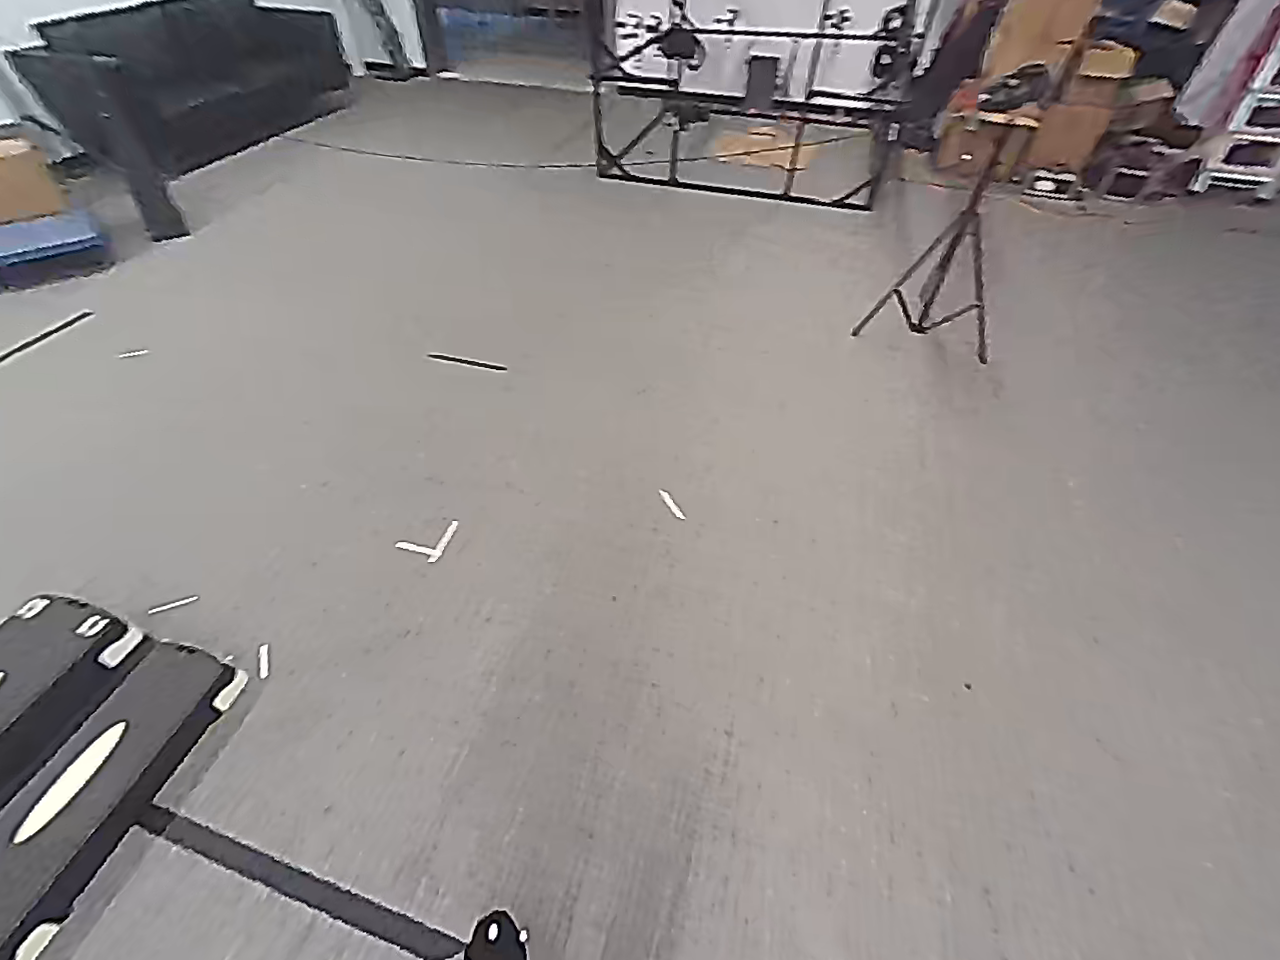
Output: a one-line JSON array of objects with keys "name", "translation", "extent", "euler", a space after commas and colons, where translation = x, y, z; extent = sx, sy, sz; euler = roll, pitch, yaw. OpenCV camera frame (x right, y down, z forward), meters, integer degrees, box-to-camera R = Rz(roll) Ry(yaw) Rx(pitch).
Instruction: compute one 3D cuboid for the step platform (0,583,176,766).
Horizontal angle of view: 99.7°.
[{"name": "step platform", "translation": [-1.560, 0.588, 1.321], "extent": [0.286, 0.204, 0.684], "euler": [12, 47, 10]}]
